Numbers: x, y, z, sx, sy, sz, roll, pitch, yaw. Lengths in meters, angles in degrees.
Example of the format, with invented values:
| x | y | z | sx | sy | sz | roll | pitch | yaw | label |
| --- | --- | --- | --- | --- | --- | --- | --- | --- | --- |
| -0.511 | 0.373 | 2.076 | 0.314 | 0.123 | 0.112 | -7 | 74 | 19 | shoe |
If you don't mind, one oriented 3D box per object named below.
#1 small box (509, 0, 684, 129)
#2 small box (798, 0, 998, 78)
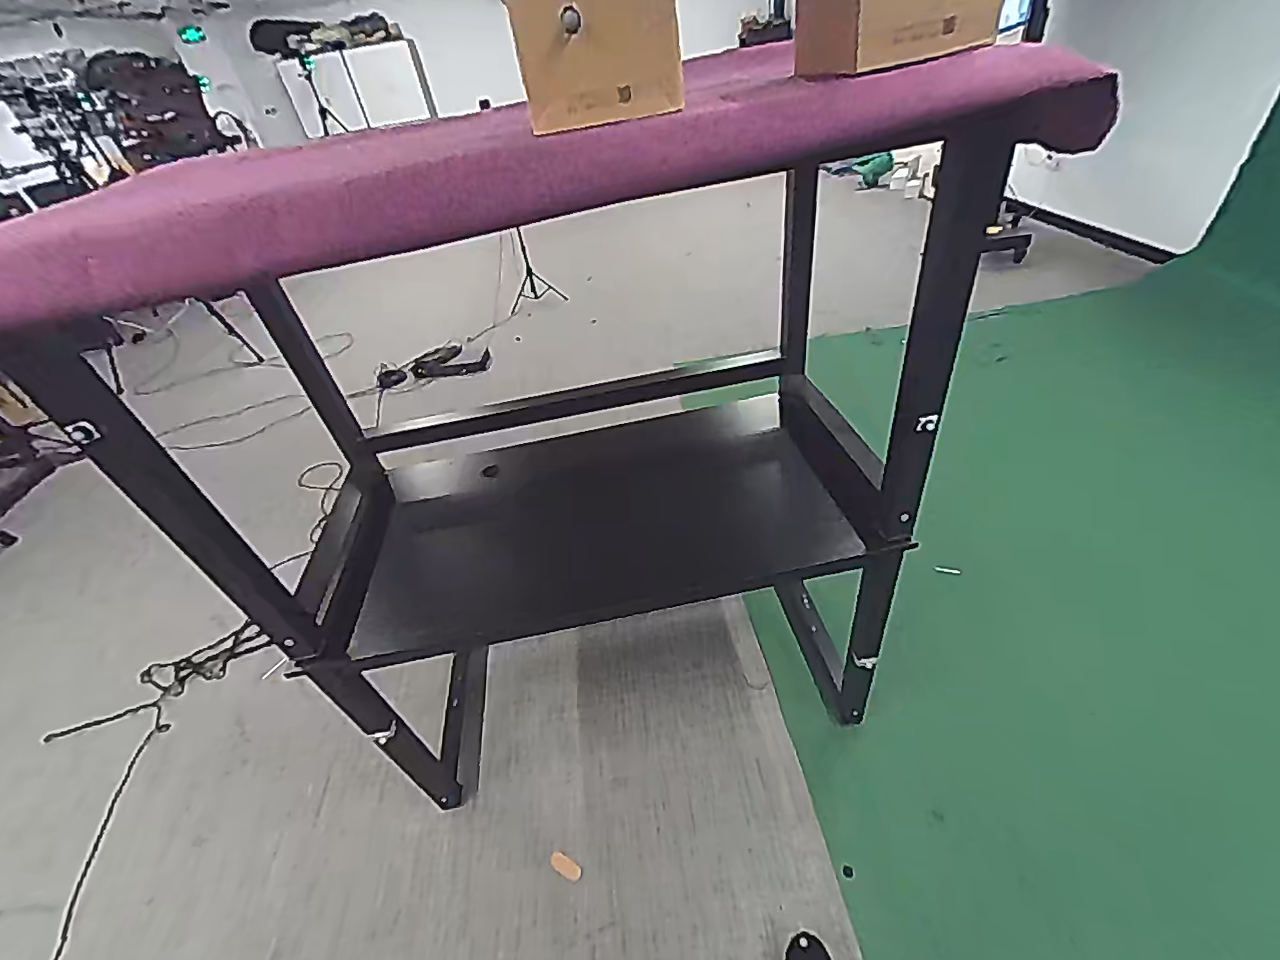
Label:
| x | y | z | sx | sy | sz | roll | pitch | yaw | label |
| --- | --- | --- | --- | --- | --- | --- | --- | --- | --- |
| -0.045 | -0.504 | 0.601 | 0.168 | 0.176 | 0.179 | -7 | 37 | 3 | small box |
| 0.289 | -0.575 | 0.613 | 0.168 | 0.176 | 0.179 | -12 | 37 | -2 | small box |
